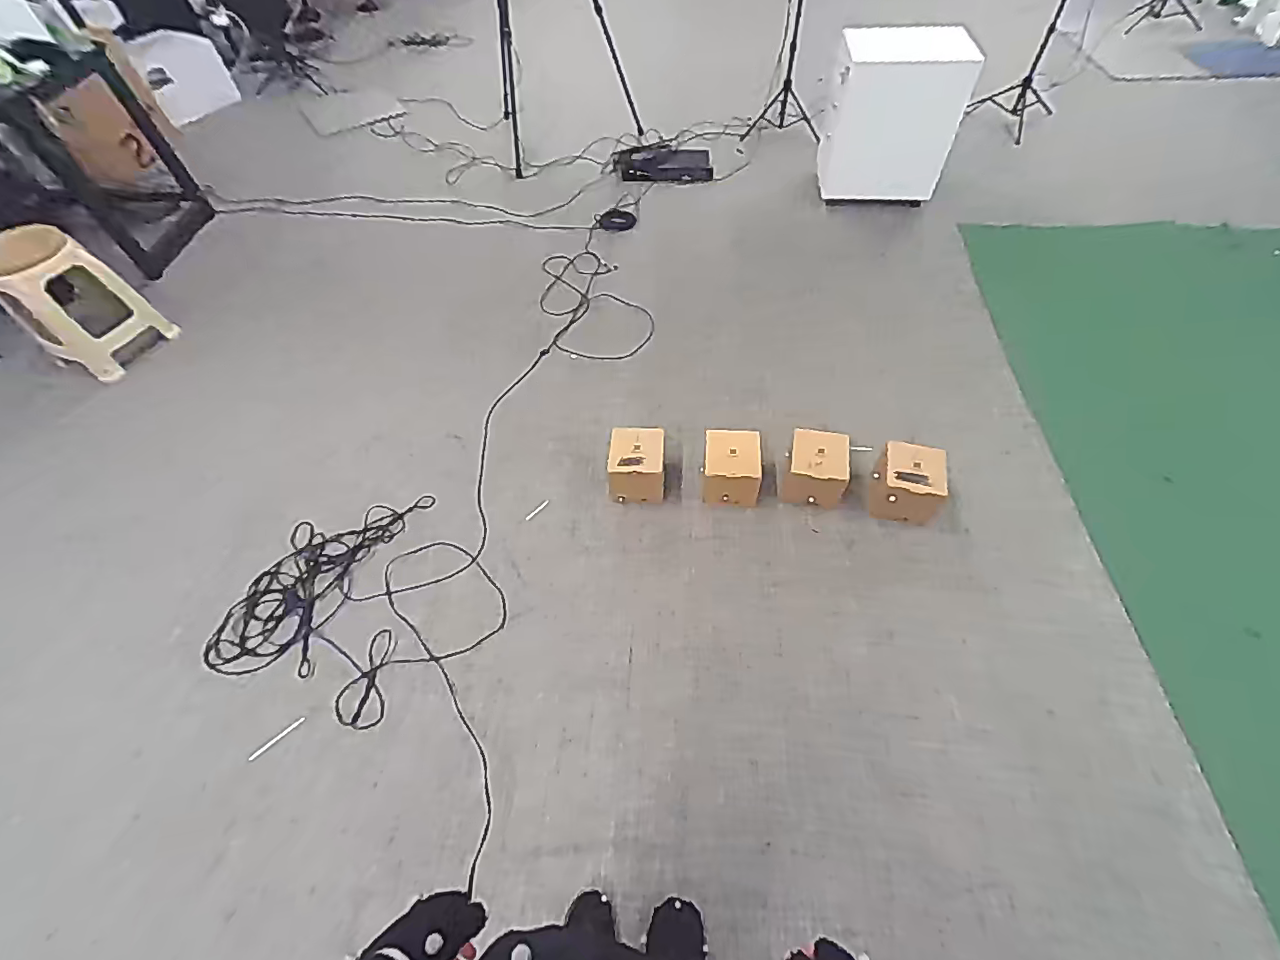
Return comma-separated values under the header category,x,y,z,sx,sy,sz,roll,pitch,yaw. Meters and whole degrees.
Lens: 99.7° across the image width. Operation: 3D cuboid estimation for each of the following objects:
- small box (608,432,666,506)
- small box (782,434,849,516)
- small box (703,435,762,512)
category,x,y,z,sx,sy,sz,roll,pitch,yaw
small box,-0.005,-0.031,1.712,0.168,0.176,0.179,2,54,4
small box,0.540,-0.015,1.674,0.168,0.176,0.179,9,56,10
small box,0.284,-0.020,1.691,0.168,0.176,0.179,3,55,5
